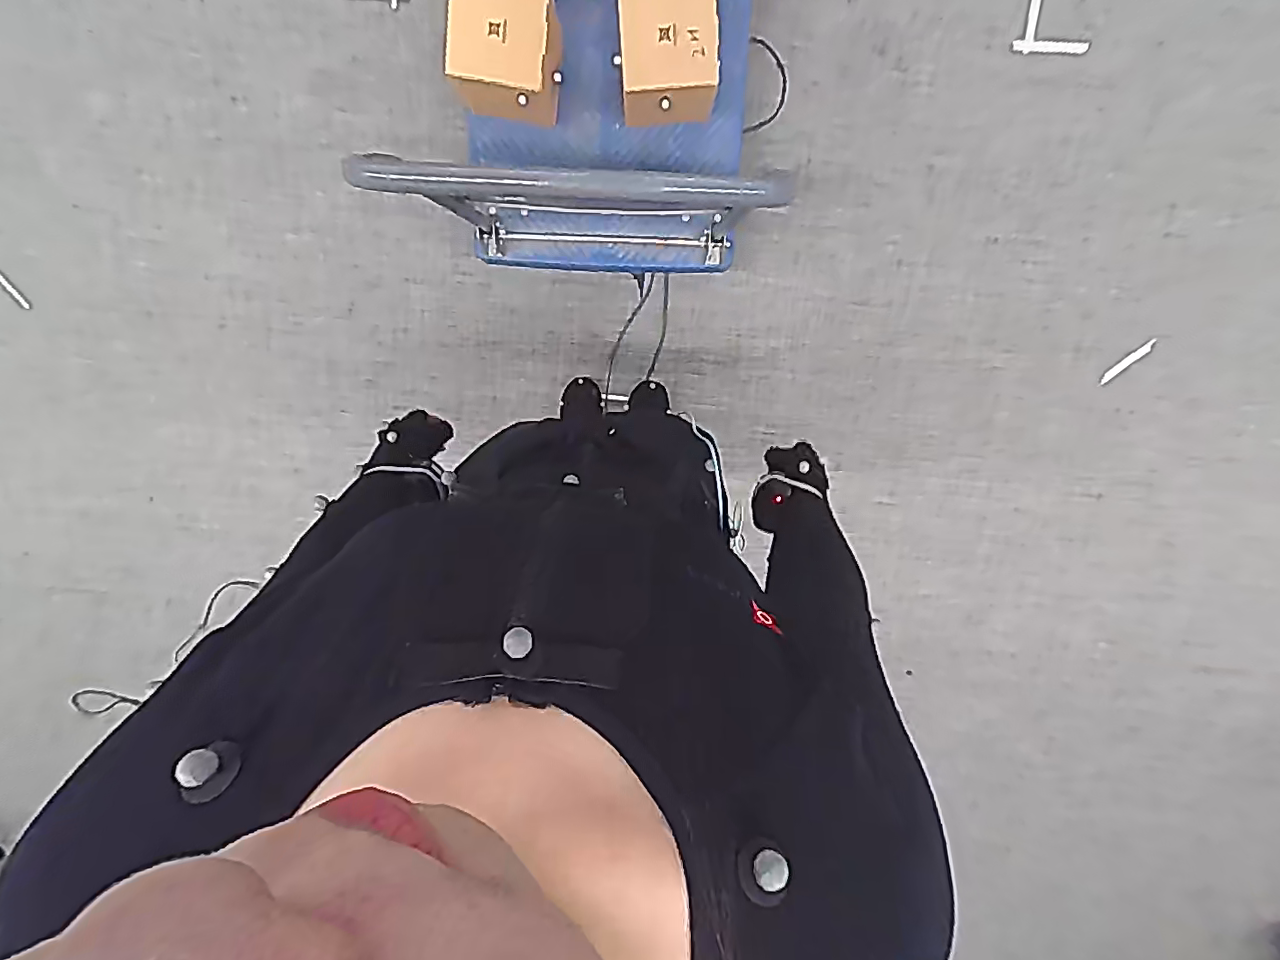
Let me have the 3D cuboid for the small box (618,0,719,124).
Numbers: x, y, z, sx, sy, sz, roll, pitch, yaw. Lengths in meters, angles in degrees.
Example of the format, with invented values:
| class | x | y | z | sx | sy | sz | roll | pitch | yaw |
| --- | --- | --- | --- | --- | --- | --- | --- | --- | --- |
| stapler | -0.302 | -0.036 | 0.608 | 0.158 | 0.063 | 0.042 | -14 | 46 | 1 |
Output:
| class | x | y | z | sx | sy | sz | roll | pitch | yaw |
| --- | --- | --- | --- | --- | --- | --- | --- | --- | --- |
| small box | 0.055 | -0.807 | 1.037 | 0.179 | 0.176 | 0.168 | -3 | 104 | 1 |

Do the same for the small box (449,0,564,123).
| class | x | y | z | sx | sy | sz | roll | pitch | yaw |
| --- | --- | --- | --- | --- | --- | --- | --- | --- | --- |
| small box | -0.249 | -0.817 | 1.037 | 0.179 | 0.176 | 0.168 | 8 | 104 | -3 |
